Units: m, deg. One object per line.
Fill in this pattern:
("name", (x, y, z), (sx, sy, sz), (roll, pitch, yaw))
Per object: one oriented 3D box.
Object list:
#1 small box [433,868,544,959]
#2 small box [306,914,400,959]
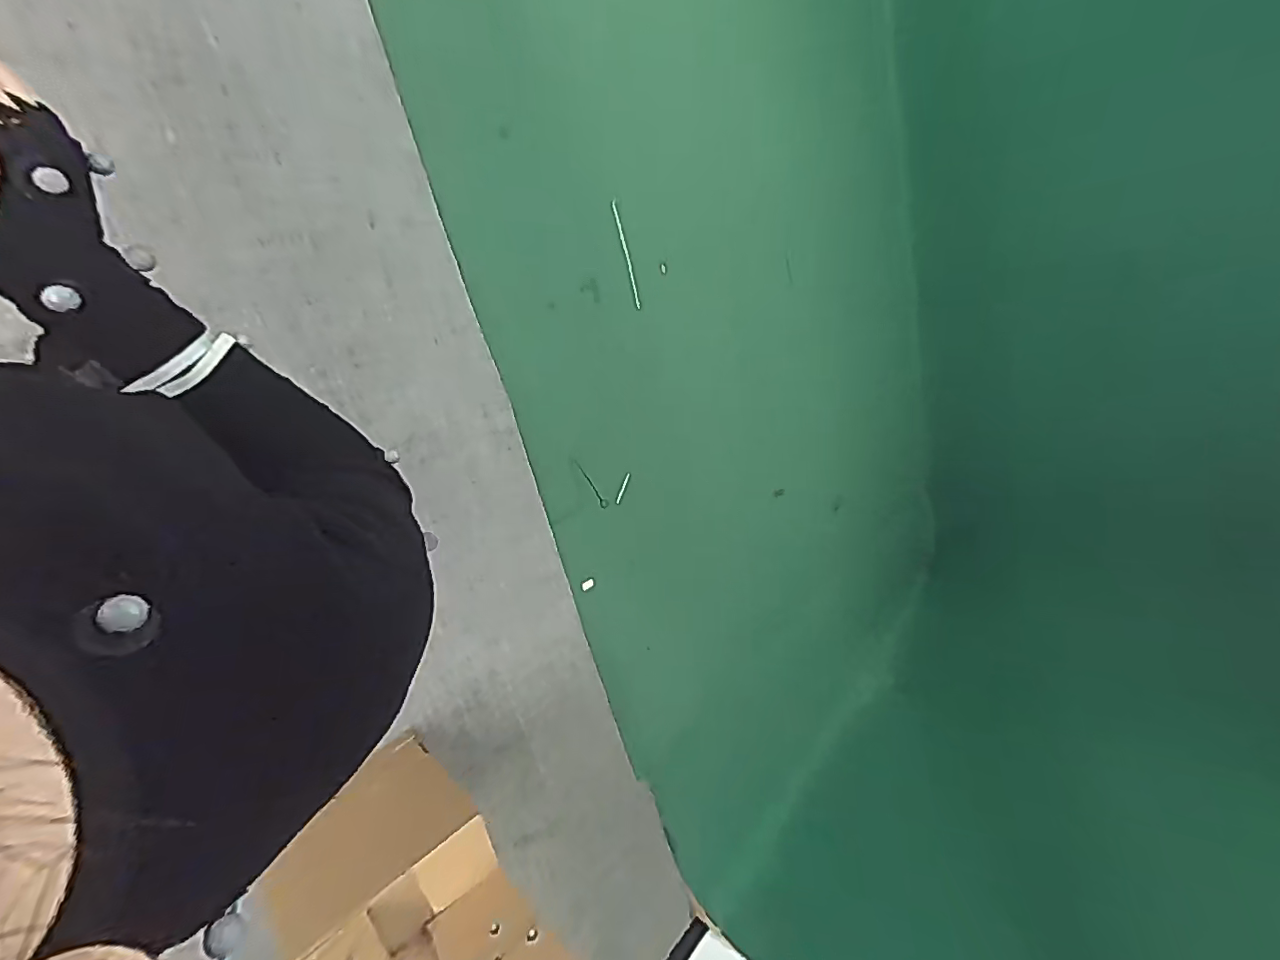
("small box", (-0.315, 0.992, 1.155), (0.179, 0.176, 0.168), (-18, 106, -39))
("small box", (-0.512, 0.939, 0.970), (0.168, 0.176, 0.179), (-27, 112, -37))
